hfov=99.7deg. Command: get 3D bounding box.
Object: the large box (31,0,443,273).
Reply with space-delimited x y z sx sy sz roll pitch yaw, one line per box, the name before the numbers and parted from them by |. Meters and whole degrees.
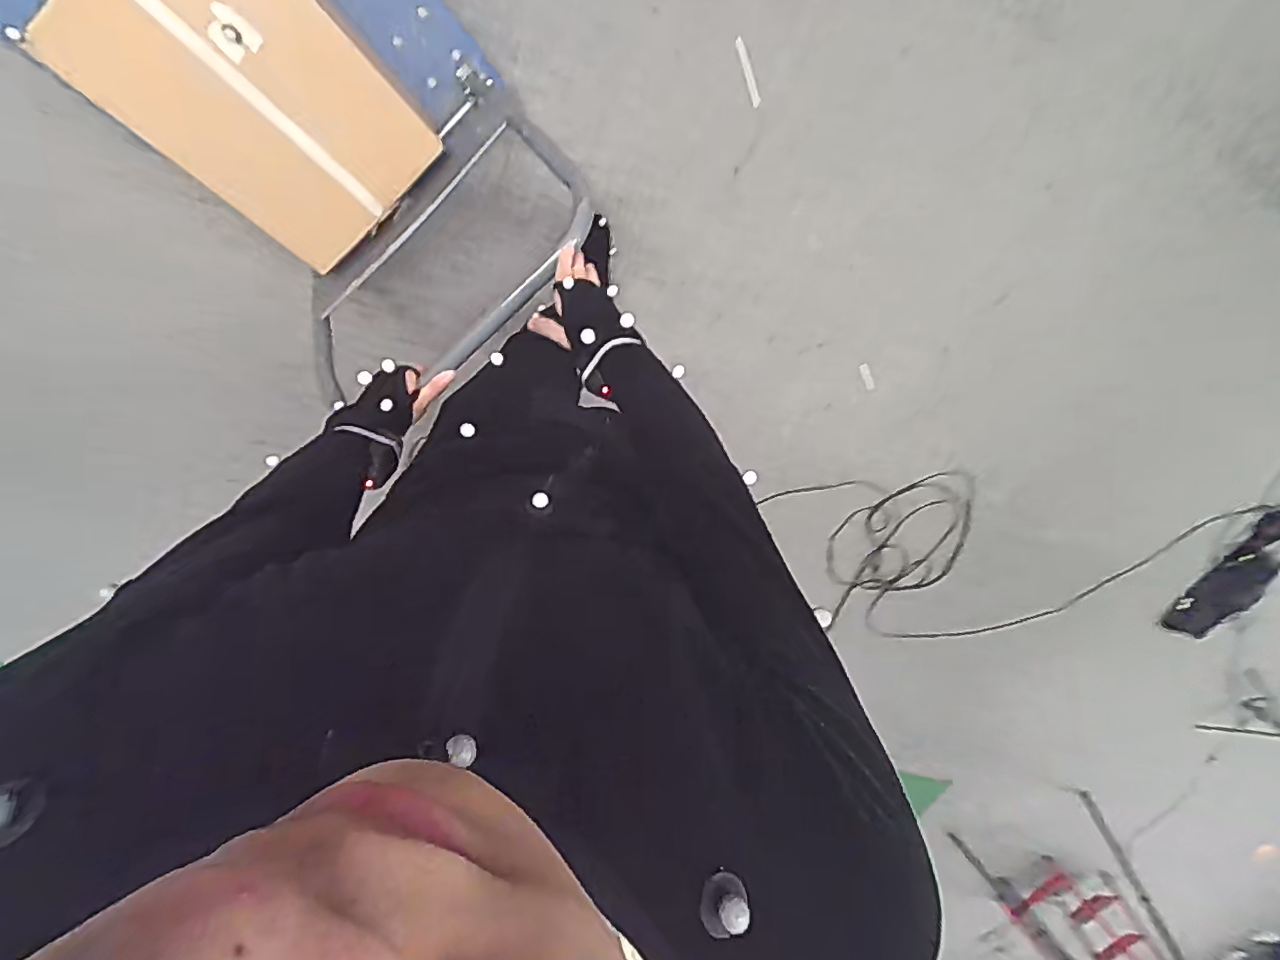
large box | -0.600 -0.640 0.894 0.320 0.320 0.408 -40 136 10
